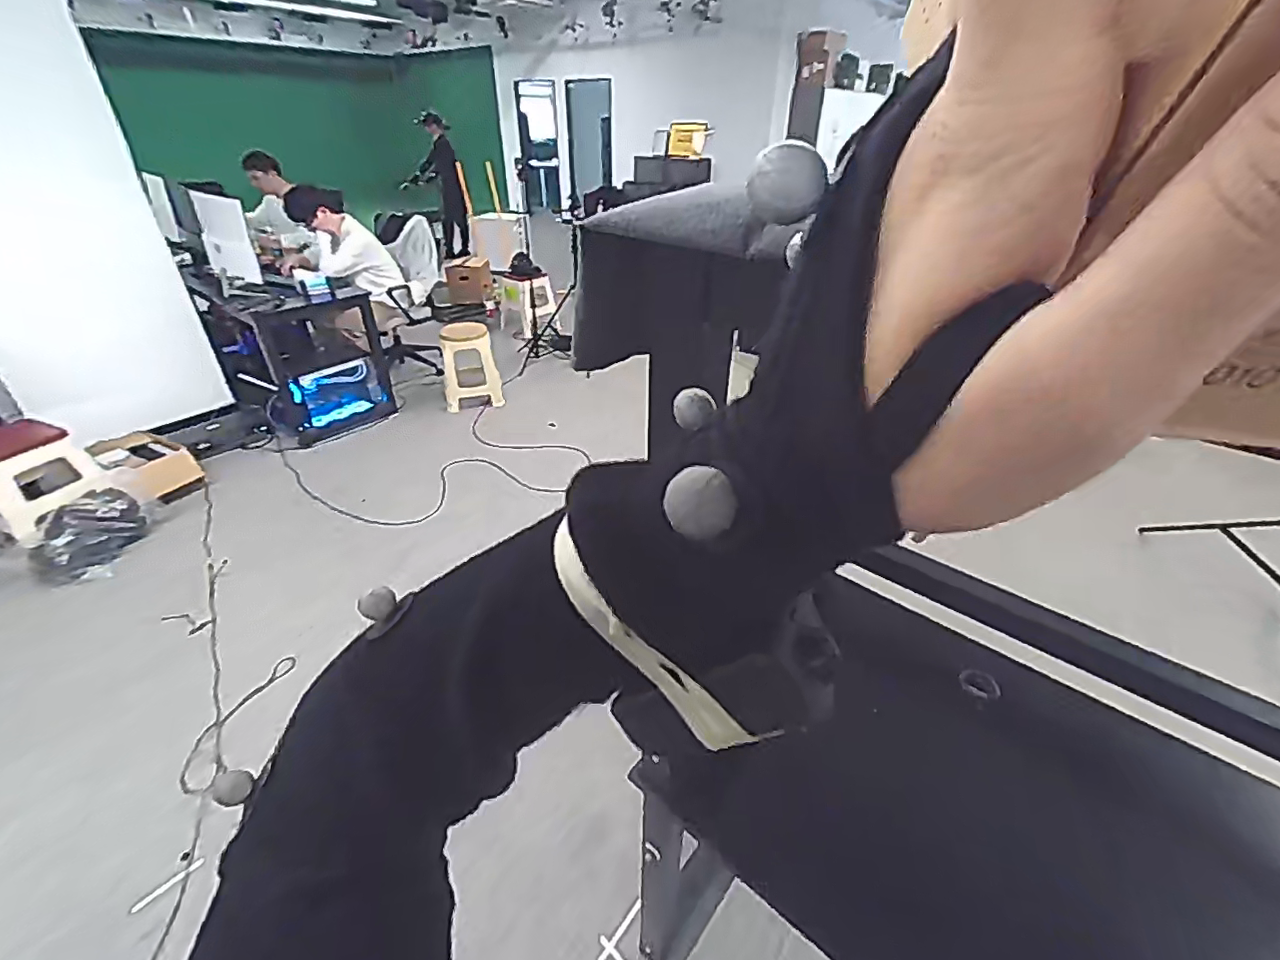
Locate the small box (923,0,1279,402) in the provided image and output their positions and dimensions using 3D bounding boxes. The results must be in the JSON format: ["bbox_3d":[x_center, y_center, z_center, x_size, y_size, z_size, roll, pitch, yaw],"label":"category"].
[{"bbox_3d":[0.162,-0.127,0.080,0.168,0.176,0.179,6,63,6],"label":"small box"}]
